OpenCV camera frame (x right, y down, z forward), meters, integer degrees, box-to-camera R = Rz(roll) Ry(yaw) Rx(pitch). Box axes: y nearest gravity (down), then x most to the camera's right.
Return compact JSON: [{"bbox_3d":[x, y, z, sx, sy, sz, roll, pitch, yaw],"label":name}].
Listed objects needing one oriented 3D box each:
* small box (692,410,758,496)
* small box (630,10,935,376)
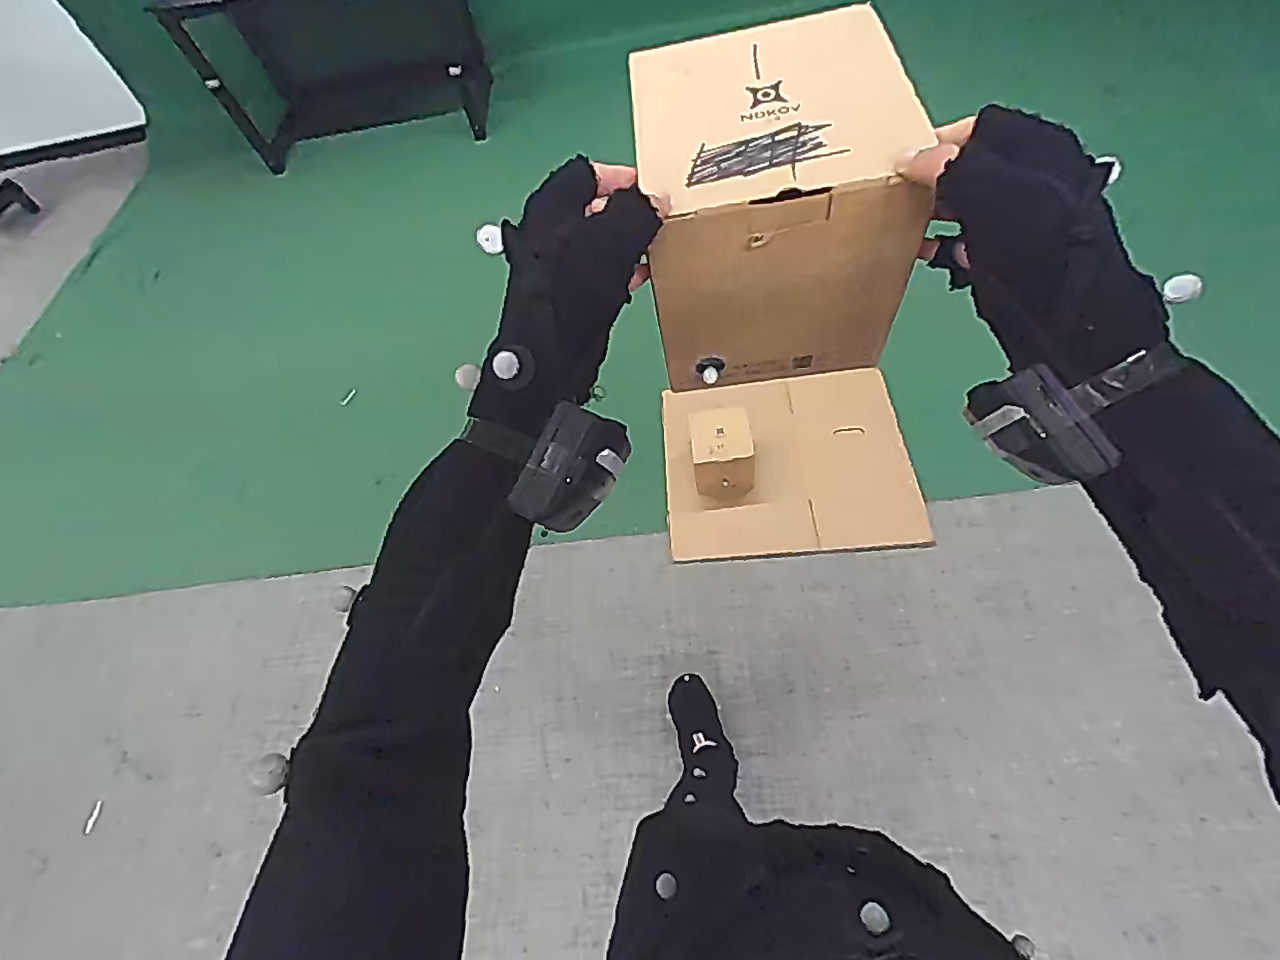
[{"bbox_3d":[0.241,-0.073,1.545,0.168,0.176,0.179,-7,59,7],"label":"small box"},{"bbox_3d":[0.089,-0.193,0.404,0.168,0.176,0.179,-6,62,7],"label":"small box"}]
